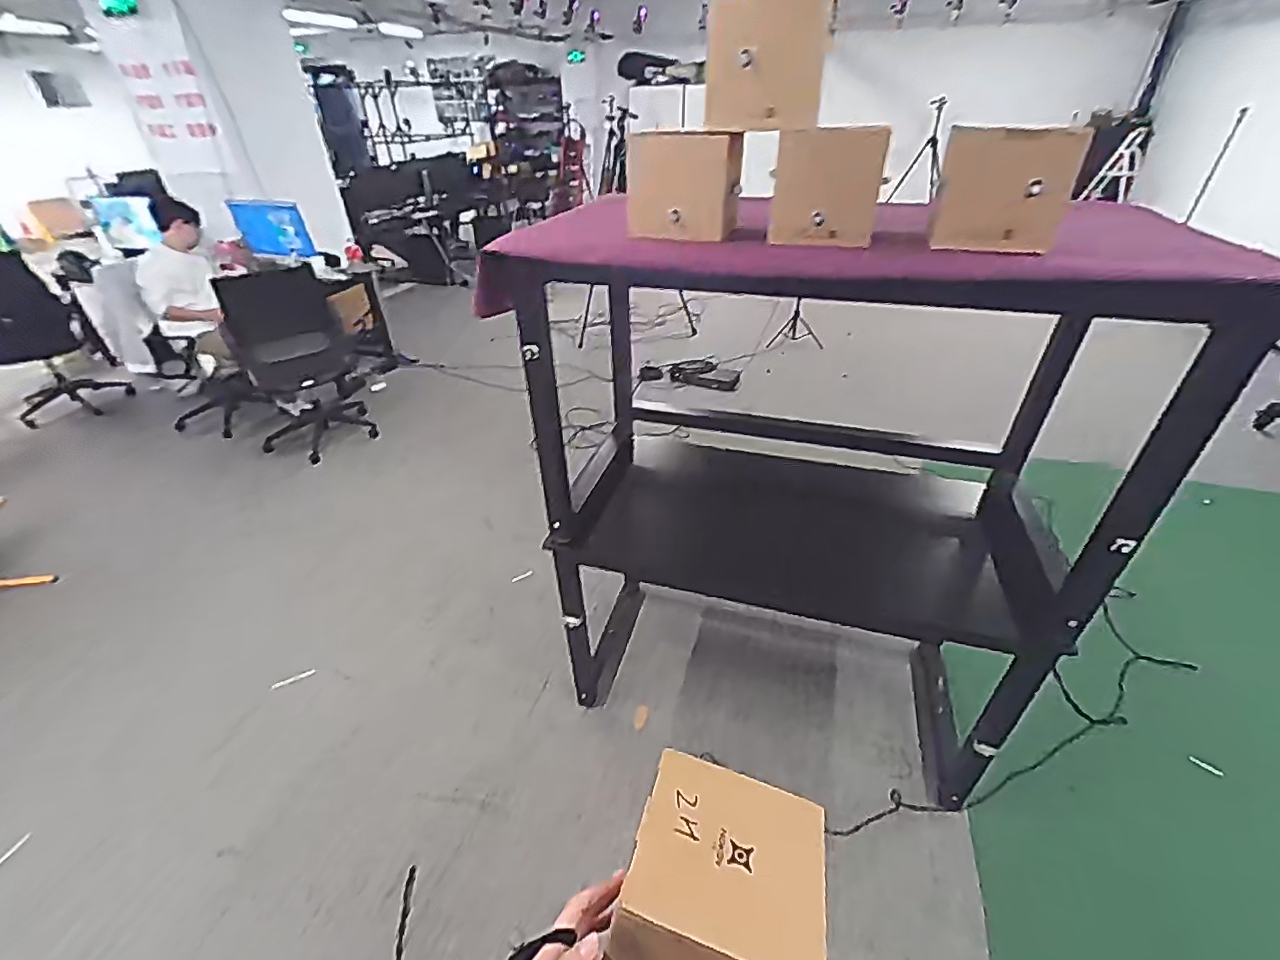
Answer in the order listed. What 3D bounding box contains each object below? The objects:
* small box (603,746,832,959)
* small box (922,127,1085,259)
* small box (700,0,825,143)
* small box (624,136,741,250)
[{"bbox_3d":[0.075,0.412,0.532,0.179,0.176,0.168,15,25,12],"label":"small box"},{"bbox_3d":[0.563,-0.459,0.865,0.168,0.176,0.179,11,35,19],"label":"small box"},{"bbox_3d":[0.198,-0.645,0.871,0.168,0.176,0.179,9,35,17],"label":"small box"},{"bbox_3d":[0.080,-0.530,0.998,0.179,0.176,0.168,10,36,15],"label":"small box"}]
